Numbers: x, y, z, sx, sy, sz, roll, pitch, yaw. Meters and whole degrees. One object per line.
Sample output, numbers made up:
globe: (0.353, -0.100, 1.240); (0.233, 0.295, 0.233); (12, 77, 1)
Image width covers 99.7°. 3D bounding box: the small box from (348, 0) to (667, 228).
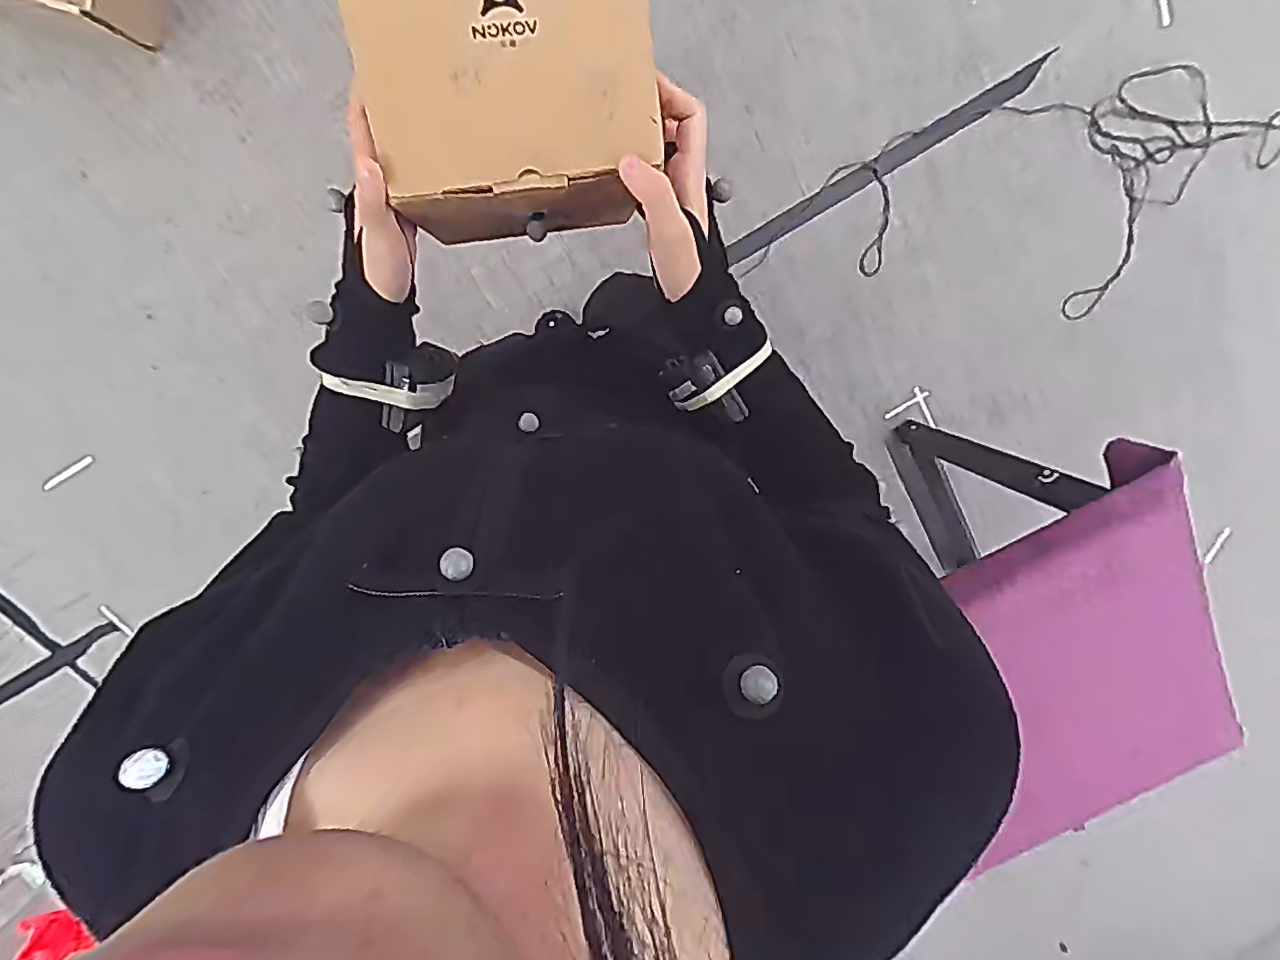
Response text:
small box: (-0.084, -0.280, 0.368); (0.168, 0.176, 0.179); (-10, 107, -7)
